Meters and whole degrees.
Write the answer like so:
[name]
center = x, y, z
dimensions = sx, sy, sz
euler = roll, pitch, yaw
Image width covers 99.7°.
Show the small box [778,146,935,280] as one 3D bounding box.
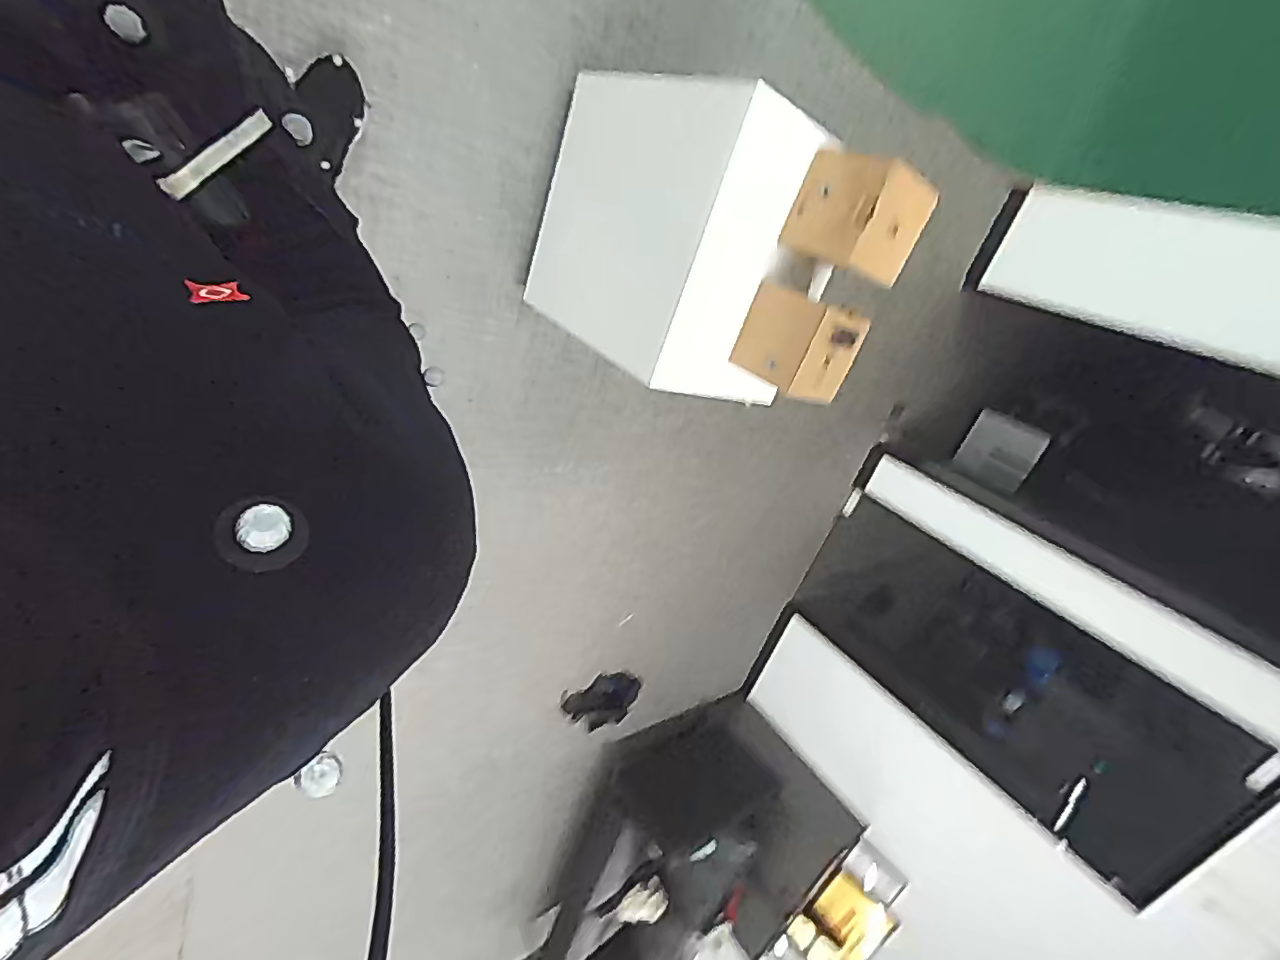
[small box]
center = 0.394, -0.493, 0.998
dimensions = 0.179, 0.176, 0.168
euler = -1, 122, -41
